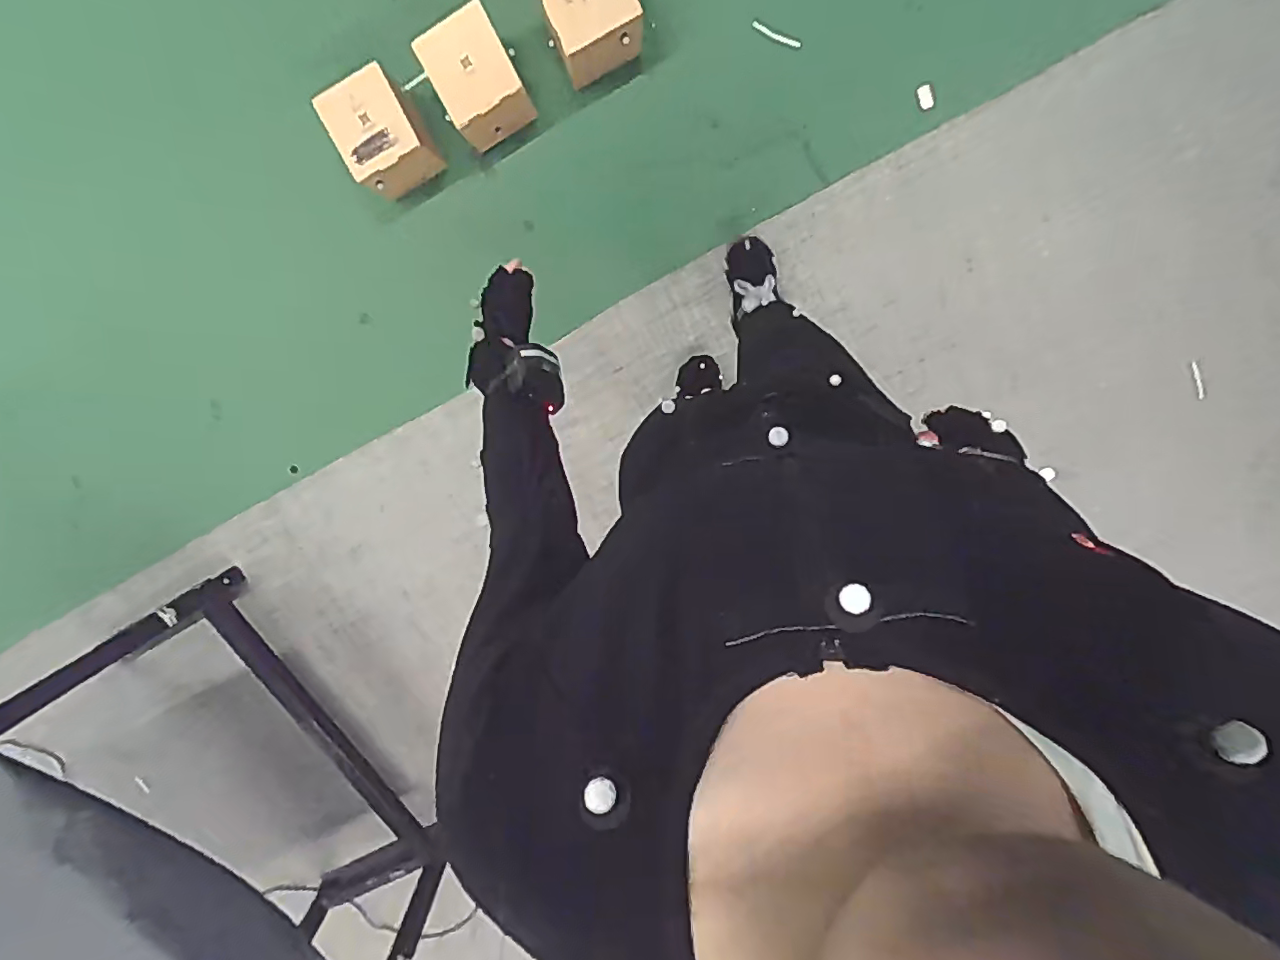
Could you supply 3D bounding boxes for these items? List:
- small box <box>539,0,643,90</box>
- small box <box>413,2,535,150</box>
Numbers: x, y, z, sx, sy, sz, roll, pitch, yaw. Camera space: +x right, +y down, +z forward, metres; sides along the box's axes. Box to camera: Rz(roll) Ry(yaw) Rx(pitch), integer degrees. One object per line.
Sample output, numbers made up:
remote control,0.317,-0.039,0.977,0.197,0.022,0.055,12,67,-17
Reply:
small box,-0.105,-0.982,1.147,0.179,0.176,0.168,-24,104,7
small box,-0.352,-0.867,1.182,0.168,0.176,0.179,-27,105,7
